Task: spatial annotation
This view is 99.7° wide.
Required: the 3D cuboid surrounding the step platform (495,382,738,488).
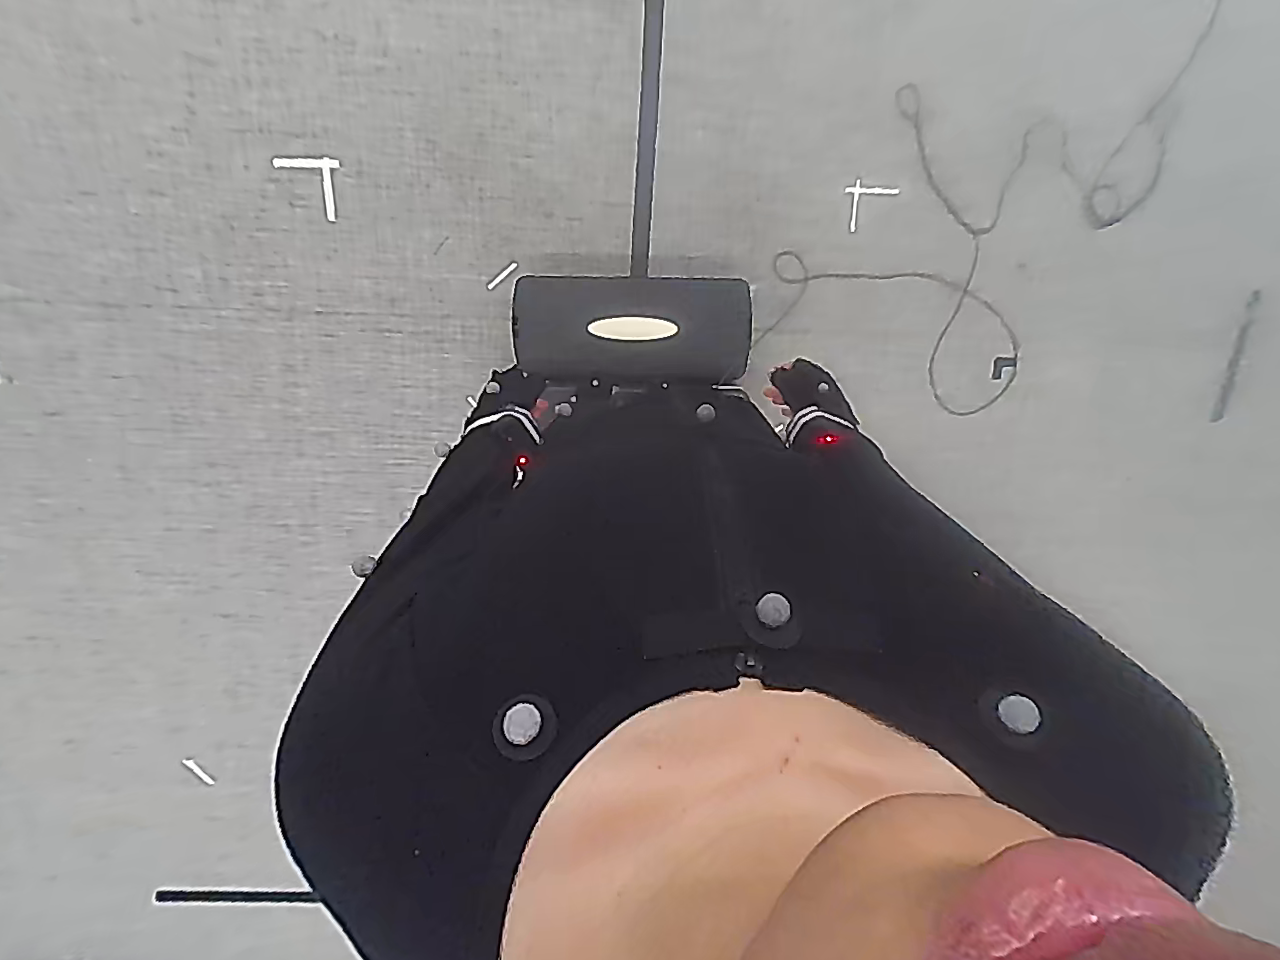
[{"bbox_3d":[-0.063,-0.132,1.554,0.684,0.204,0.286,1,102,-1],"label":"step platform"}]
